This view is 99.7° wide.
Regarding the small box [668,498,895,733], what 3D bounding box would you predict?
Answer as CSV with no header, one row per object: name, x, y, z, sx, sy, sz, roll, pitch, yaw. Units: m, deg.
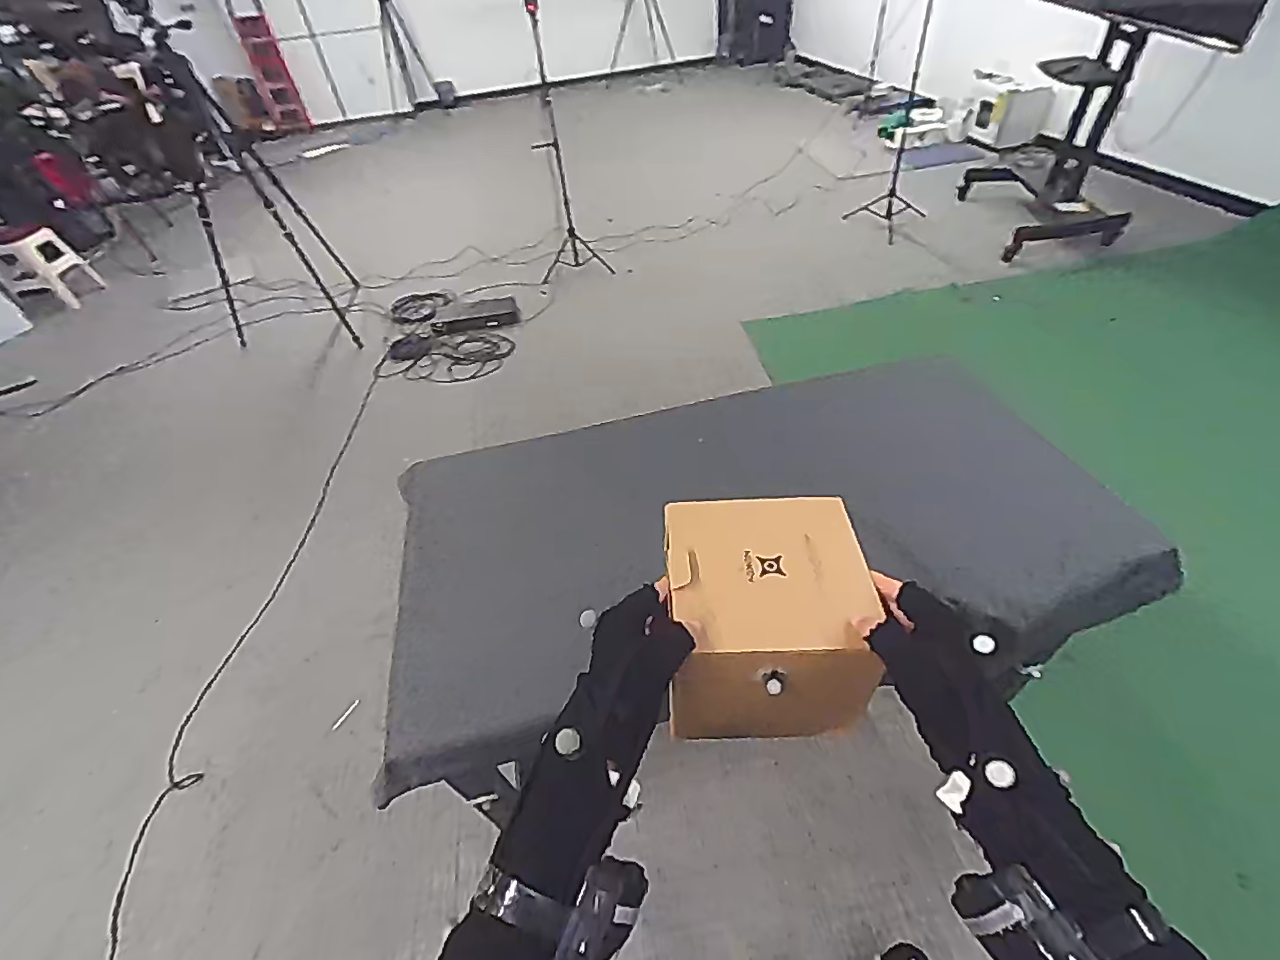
small box,0.116,0.134,0.534,0.179,0.176,0.168,0,43,1
